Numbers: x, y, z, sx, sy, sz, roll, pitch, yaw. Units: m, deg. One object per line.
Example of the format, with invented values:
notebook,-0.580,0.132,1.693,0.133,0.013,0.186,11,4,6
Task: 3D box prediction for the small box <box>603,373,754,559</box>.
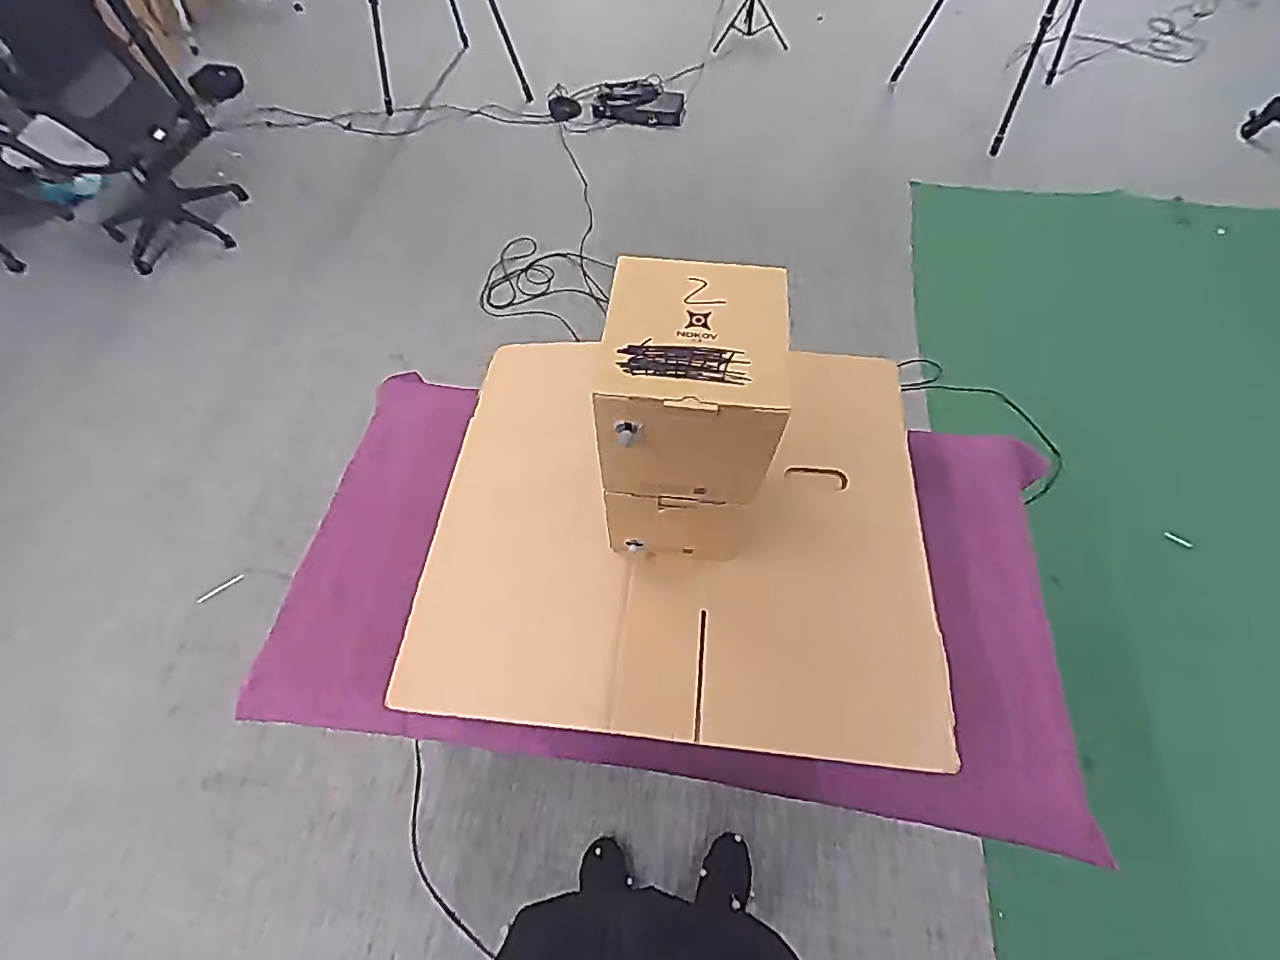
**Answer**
small box,0.050,-0.011,0.691,0.168,0.176,0.179,5,60,3
